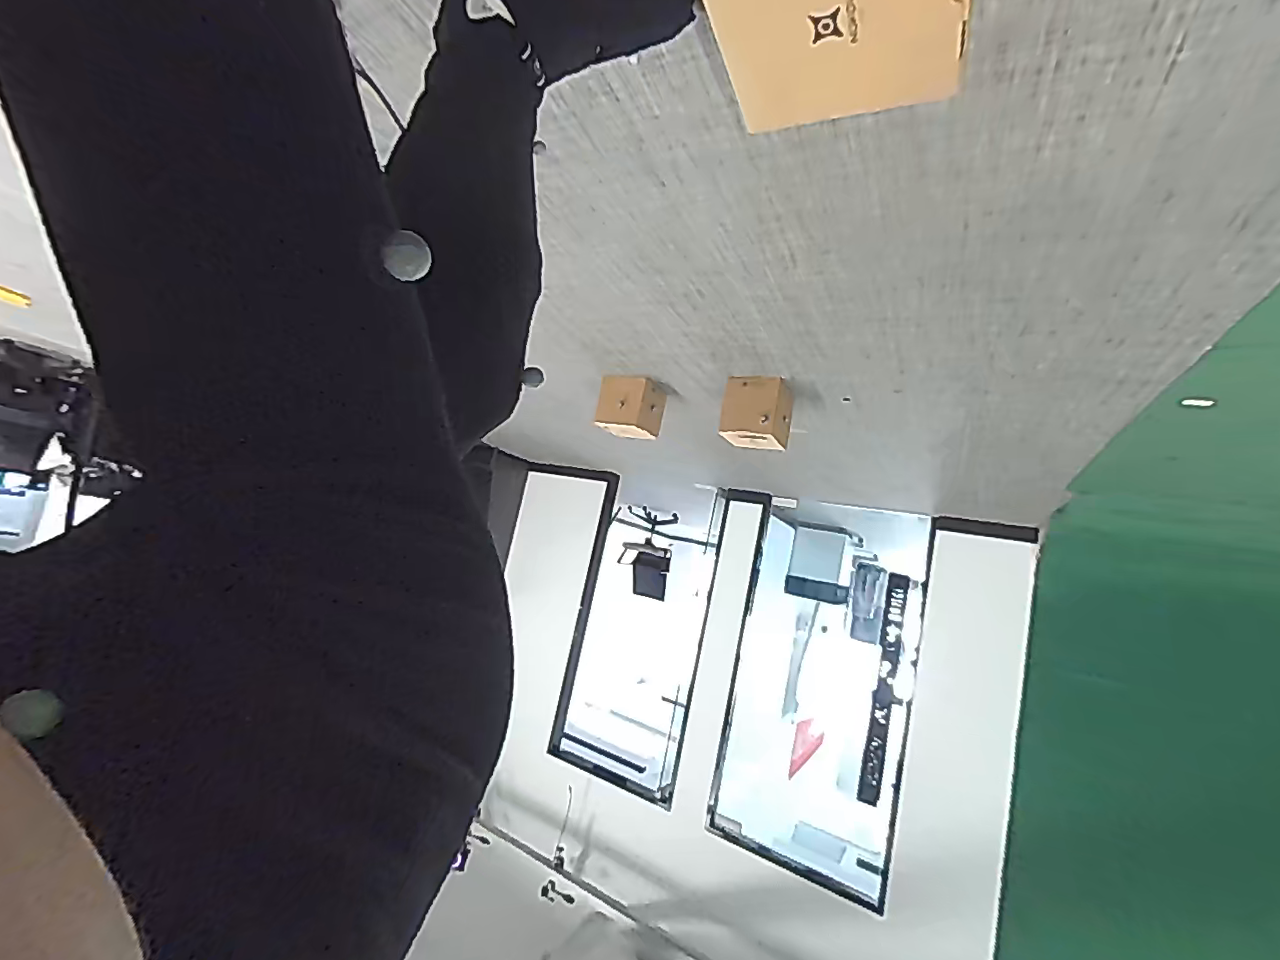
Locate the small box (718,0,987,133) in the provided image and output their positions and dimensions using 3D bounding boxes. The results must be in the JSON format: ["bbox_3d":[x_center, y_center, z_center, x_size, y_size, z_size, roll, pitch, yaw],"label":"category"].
[{"bbox_3d":[0.167,-0.408,0.404,0.179,0.176,0.168,7,171,28],"label":"small box"}]

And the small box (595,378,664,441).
[{"bbox_3d":[-0.029,-0.241,1.843,0.179,0.176,0.168,7,171,30],"label":"small box"}]
